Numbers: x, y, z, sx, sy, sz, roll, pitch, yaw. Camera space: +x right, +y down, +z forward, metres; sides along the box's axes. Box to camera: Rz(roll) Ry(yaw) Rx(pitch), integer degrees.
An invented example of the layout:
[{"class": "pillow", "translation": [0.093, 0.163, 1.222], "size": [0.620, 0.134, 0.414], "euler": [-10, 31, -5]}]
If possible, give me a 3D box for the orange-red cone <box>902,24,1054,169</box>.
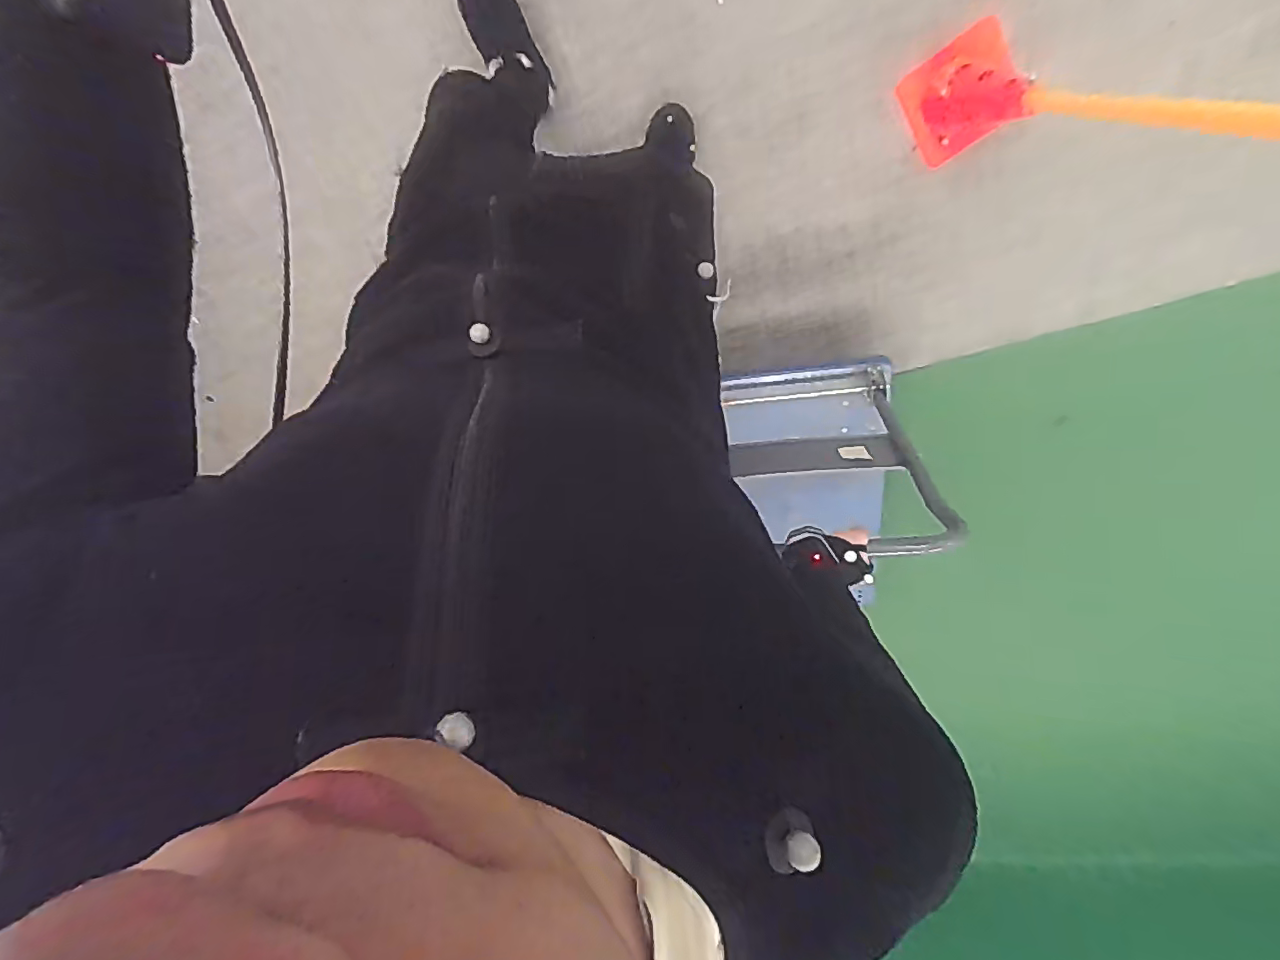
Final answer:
[{"class": "orange-red cone", "translation": [0.656, -0.696, 0.995], "size": [0.199, 0.360, 0.198], "euler": [-28, 118, 24]}]
